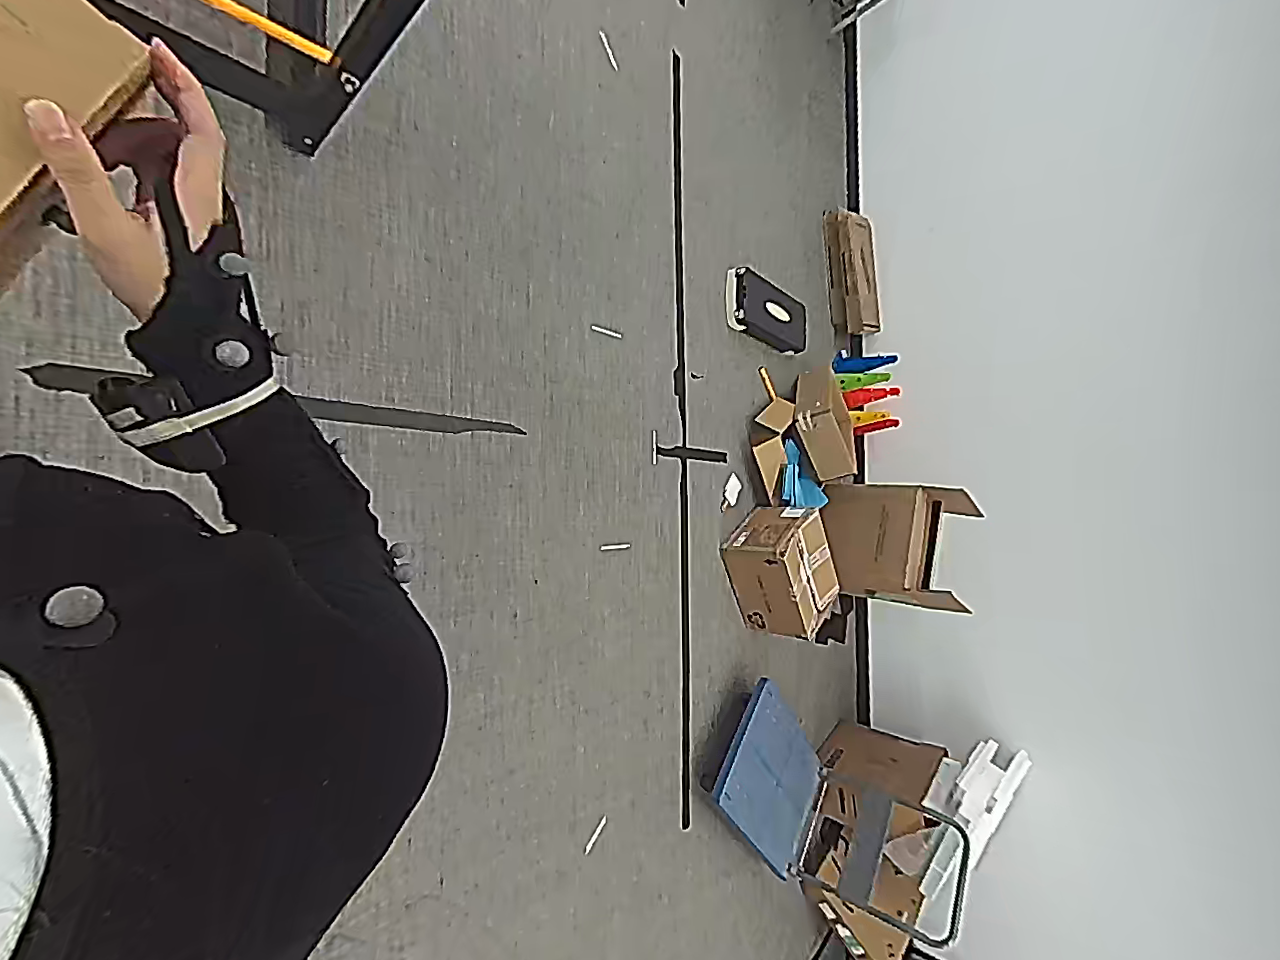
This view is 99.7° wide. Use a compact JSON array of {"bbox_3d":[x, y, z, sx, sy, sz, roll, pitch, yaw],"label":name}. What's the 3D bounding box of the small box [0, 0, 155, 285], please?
[{"bbox_3d":[-0.378,-0.200,0.252,0.179,0.176,0.168,40,78,-43],"label":"small box"}]
